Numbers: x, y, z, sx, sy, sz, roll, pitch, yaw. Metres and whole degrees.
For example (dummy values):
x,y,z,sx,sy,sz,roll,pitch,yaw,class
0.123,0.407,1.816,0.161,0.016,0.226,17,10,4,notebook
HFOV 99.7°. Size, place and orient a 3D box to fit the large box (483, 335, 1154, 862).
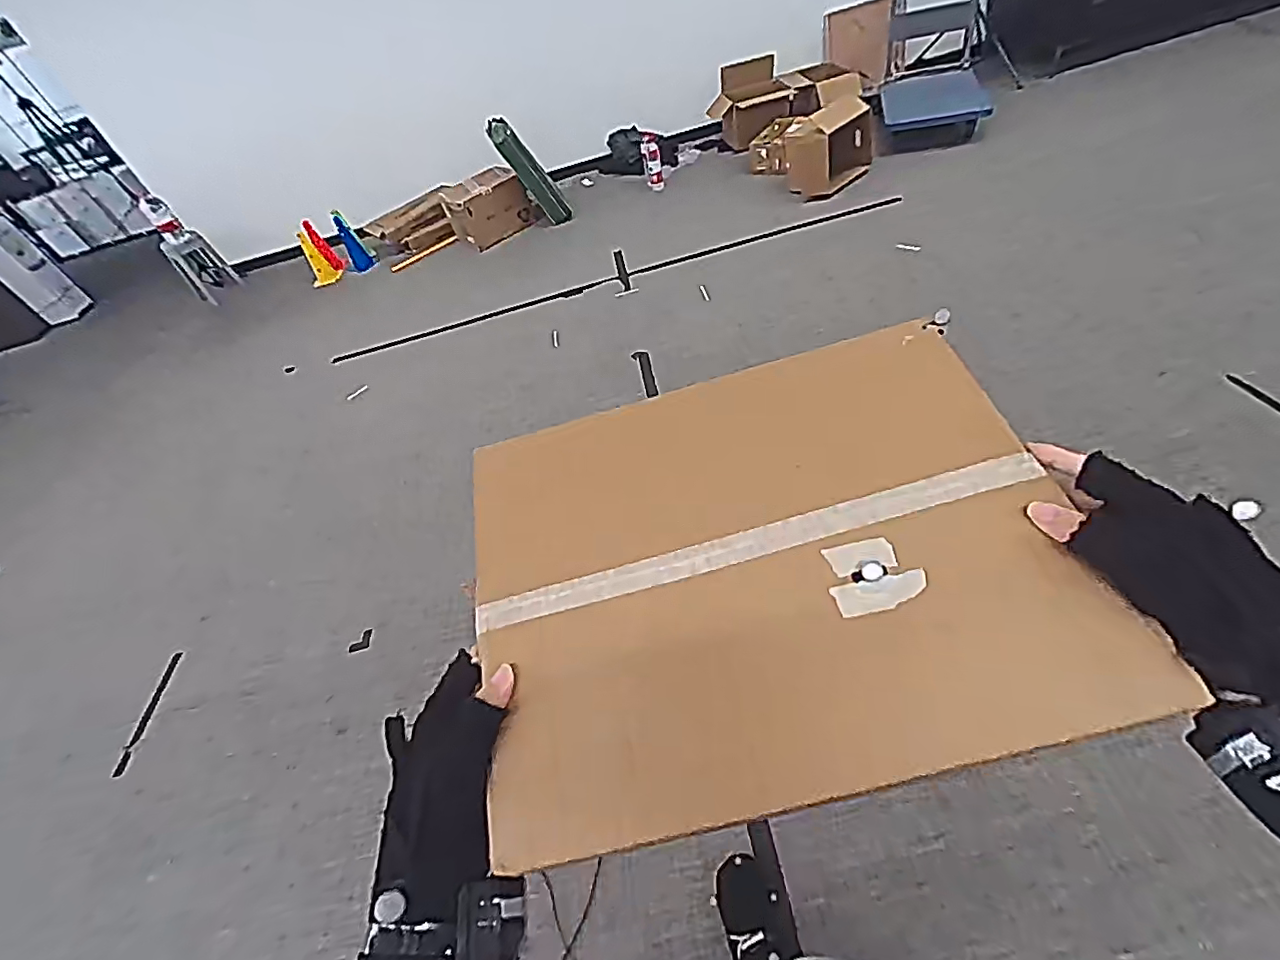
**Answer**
x,y,z,sx,sy,sz,roll,pitch,yaw,class
0.105,0.129,0.524,0.408,0.320,0.320,-16,58,3,large box
